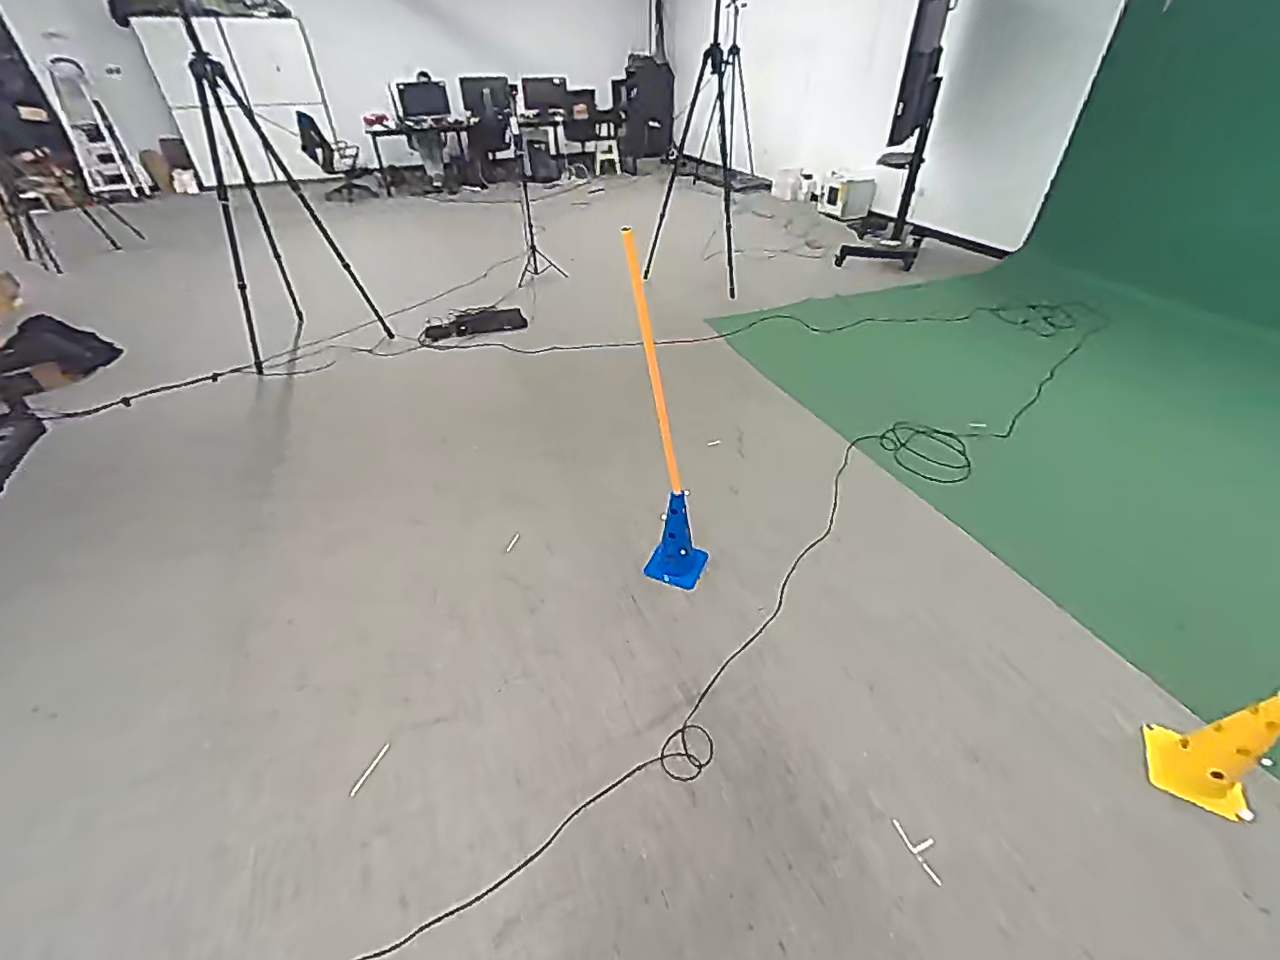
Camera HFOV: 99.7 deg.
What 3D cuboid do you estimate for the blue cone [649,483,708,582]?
[{"bbox_3d":[0.135,0.169,1.902,0.193,0.380,0.192,13,42,20],"label":"blue cone"}]
